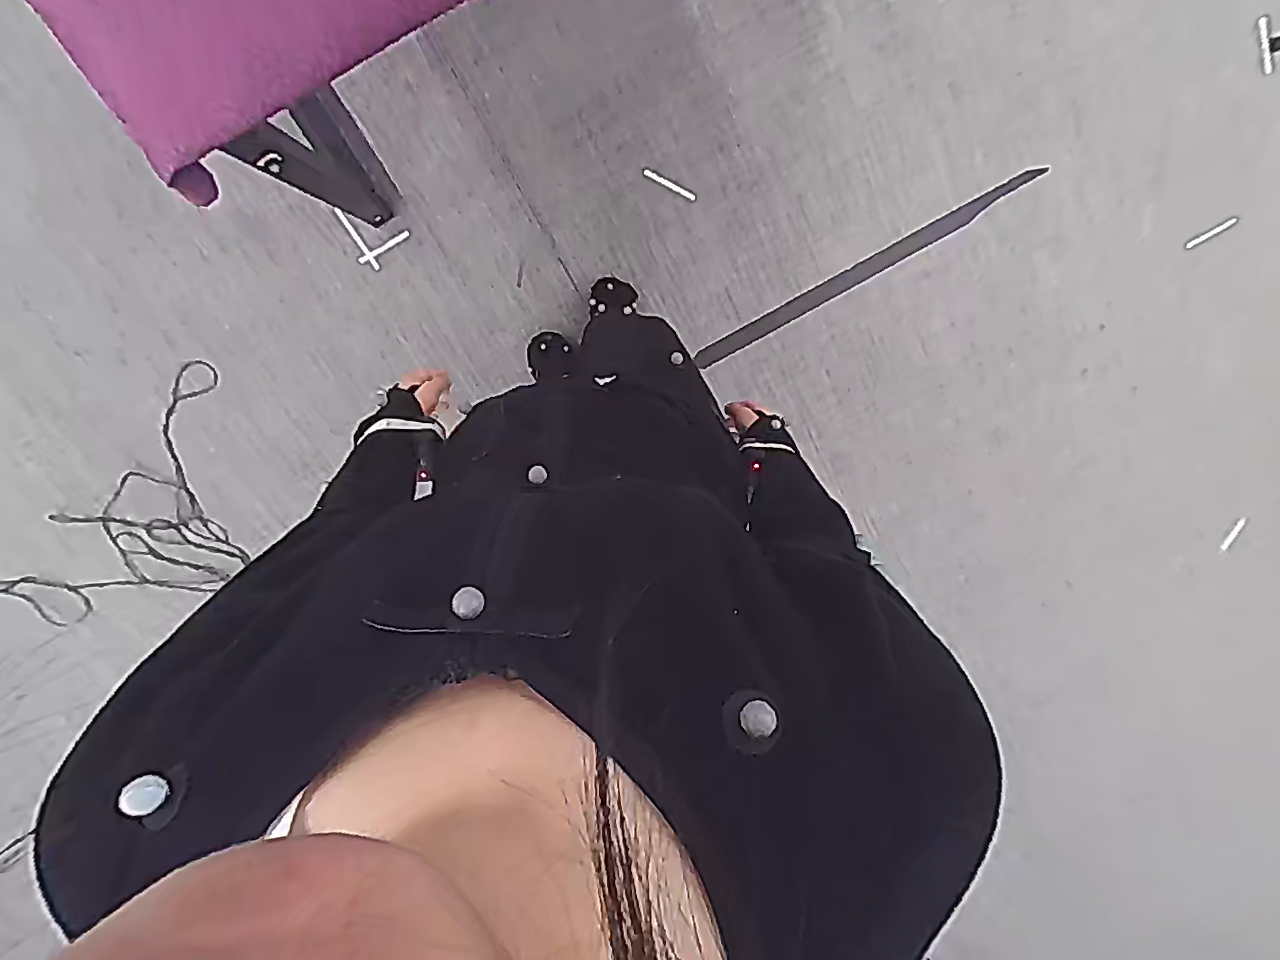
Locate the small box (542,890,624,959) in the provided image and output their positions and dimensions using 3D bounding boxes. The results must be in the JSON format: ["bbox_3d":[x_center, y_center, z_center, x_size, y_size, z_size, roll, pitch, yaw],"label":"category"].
[{"bbox_3d":[-0.156,1.251,1.453,0.179,0.176,0.168,18,102,-11],"label":"small box"}]
